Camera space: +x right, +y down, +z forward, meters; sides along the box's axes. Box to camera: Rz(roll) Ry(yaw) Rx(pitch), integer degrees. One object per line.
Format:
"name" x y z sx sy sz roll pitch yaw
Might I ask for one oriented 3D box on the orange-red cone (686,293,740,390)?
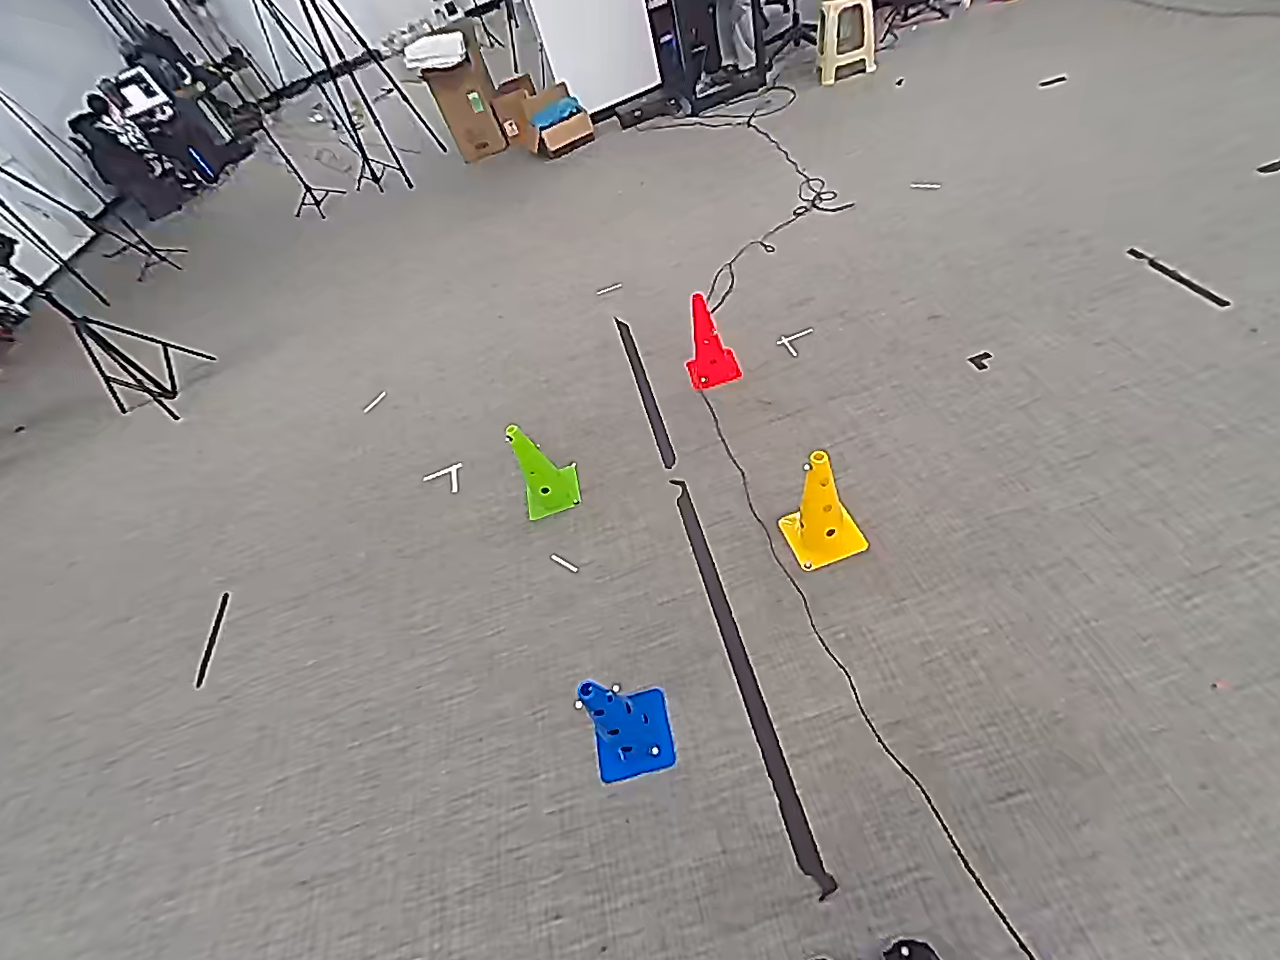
"orange-red cone" 0.249 -0.553 2.064 0.199 0.360 0.198 -16 50 6

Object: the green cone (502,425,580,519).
"green cone" -0.376 -0.063 1.886 0.202 0.368 0.200 -20 48 5

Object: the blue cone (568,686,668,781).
"blue cone" -0.074 0.563 1.284 0.192 0.380 0.193 -18 48 7
